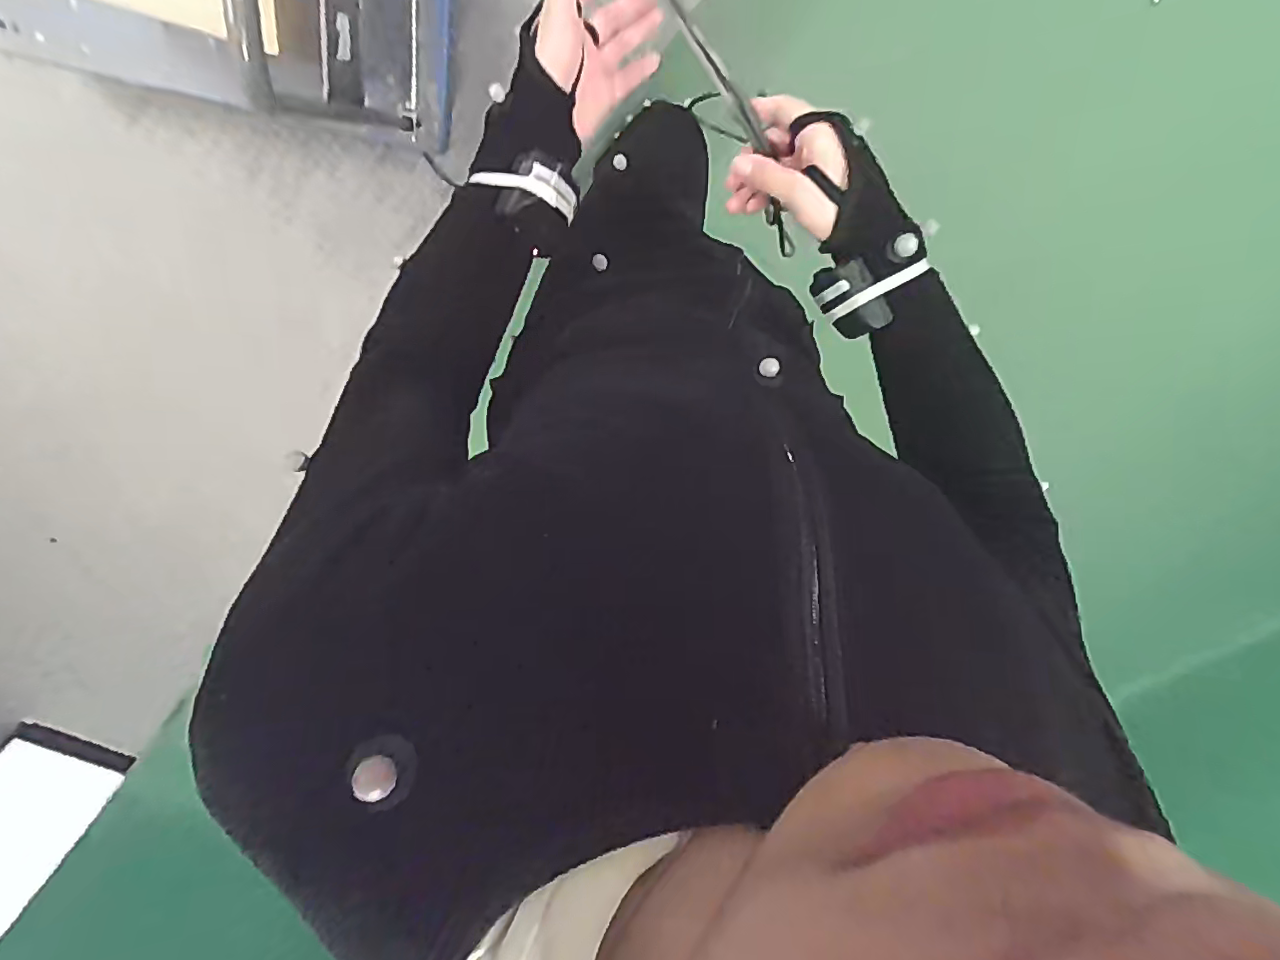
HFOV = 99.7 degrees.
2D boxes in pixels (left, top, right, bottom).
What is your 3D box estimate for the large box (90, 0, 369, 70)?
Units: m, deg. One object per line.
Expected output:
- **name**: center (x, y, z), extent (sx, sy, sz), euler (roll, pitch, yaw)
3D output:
- **large box**: center (-0.683, -0.880, 0.827), extent (0.408, 0.320, 0.320), euler (13, 120, -8)
